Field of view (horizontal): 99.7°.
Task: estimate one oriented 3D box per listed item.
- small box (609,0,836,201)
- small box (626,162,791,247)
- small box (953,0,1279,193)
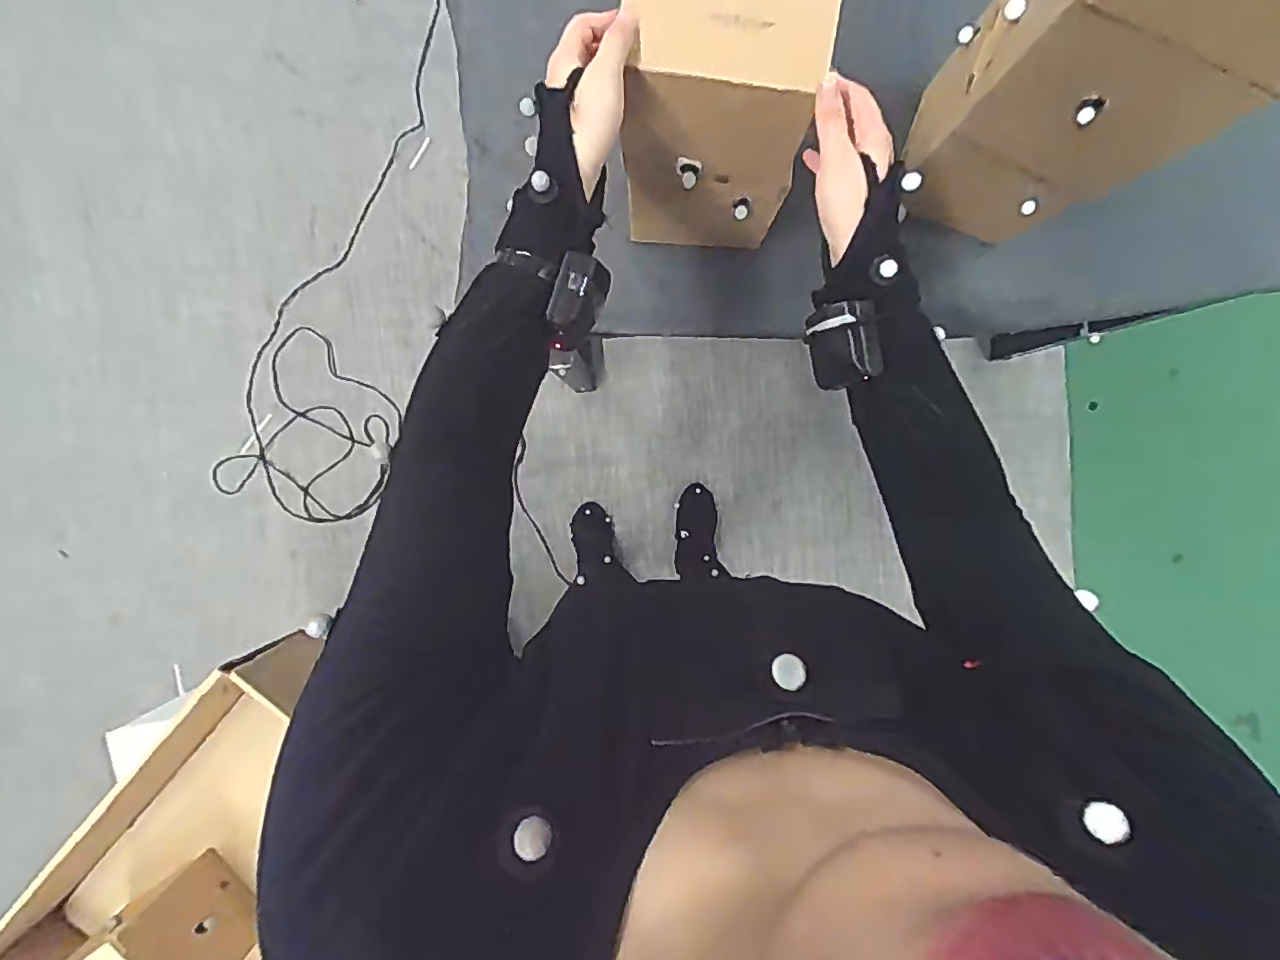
[{"bbox_3d":[0.071,-0.386,0.486,0.168,0.176,0.179,9,94,2],"label":"small box"},{"bbox_3d":[0.078,-0.395,0.648,0.179,0.176,0.168,4,92,1],"label":"small box"},{"bbox_3d":[0.431,-0.392,0.478,0.179,0.176,0.168,27,92,0],"label":"small box"}]
